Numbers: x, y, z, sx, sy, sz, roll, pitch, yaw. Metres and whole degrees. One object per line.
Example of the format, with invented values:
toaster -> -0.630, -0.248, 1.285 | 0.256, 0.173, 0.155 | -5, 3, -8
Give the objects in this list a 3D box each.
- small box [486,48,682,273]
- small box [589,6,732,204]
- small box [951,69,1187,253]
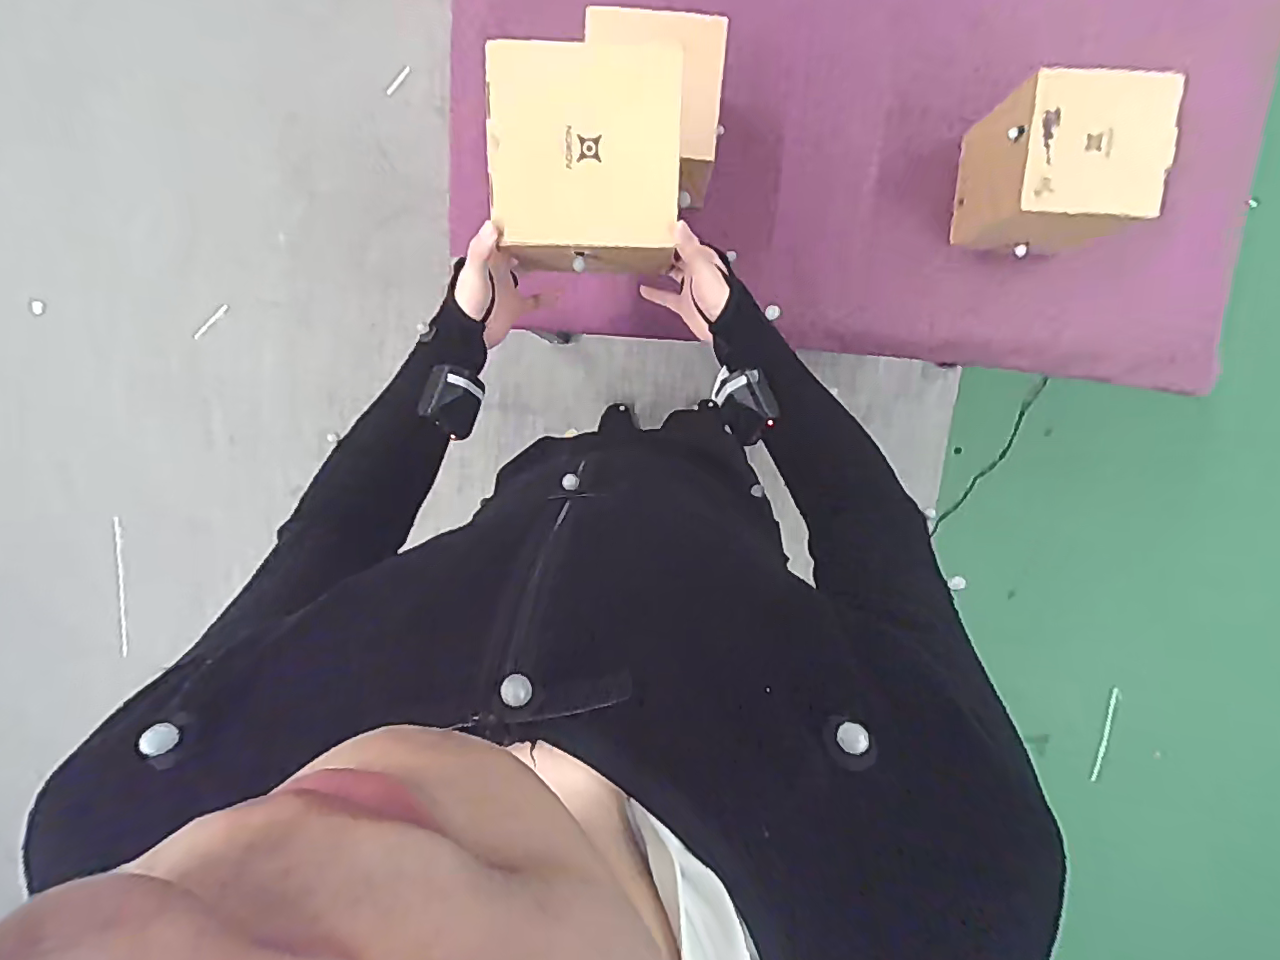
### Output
small box -> -0.049, -0.318, 0.571 | 0.179, 0.176, 0.168 | 2, 104, 2
small box -> 0.021, -0.502, 0.751 | 0.179, 0.176, 0.168 | 6, 98, 1
small box -> 0.570, -0.422, 0.744 | 0.179, 0.176, 0.168 | 4, 98, 1
